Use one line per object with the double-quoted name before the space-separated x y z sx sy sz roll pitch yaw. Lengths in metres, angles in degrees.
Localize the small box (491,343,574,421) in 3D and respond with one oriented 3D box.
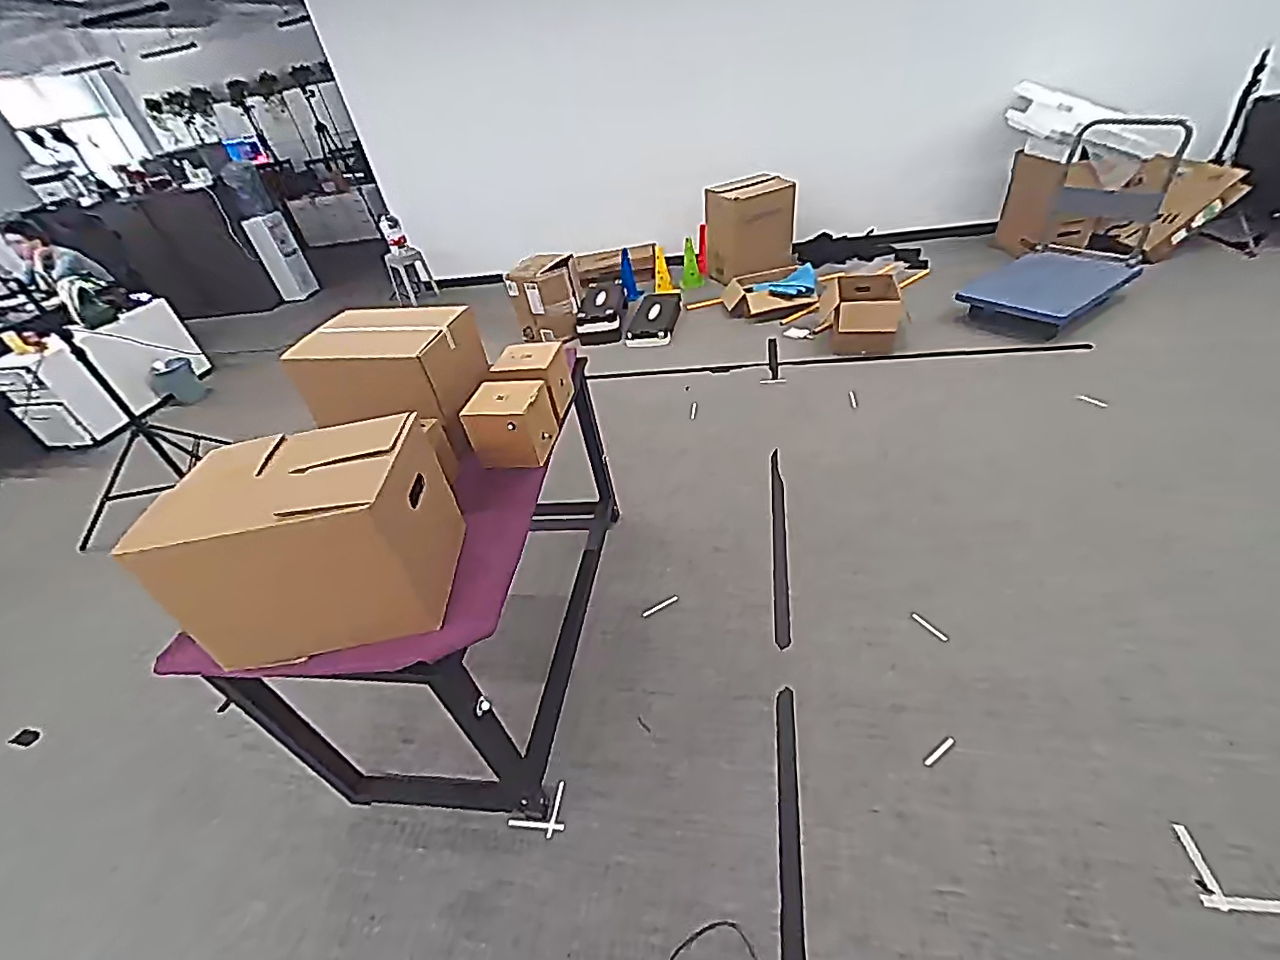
"small box" -0.306 -0.285 1.589 0.179 0.176 0.168 -1 38 13
